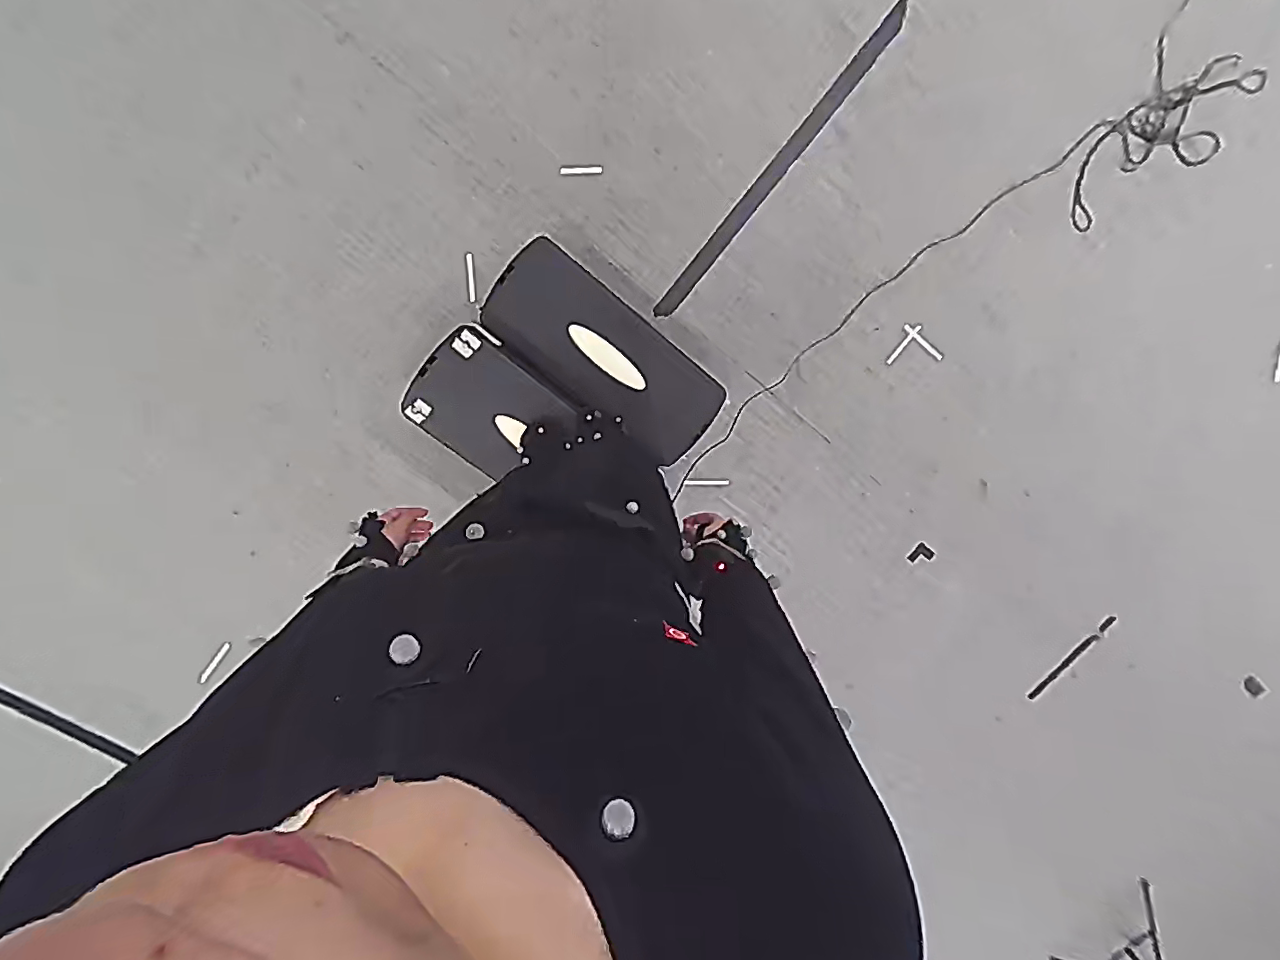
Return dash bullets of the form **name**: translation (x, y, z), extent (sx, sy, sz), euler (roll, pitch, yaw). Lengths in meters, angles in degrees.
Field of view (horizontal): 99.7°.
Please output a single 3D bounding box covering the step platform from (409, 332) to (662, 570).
- **step platform**: translation (-0.261, -0.069, 1.447), extent (0.684, 0.204, 0.286), euler (42, 95, -11)
